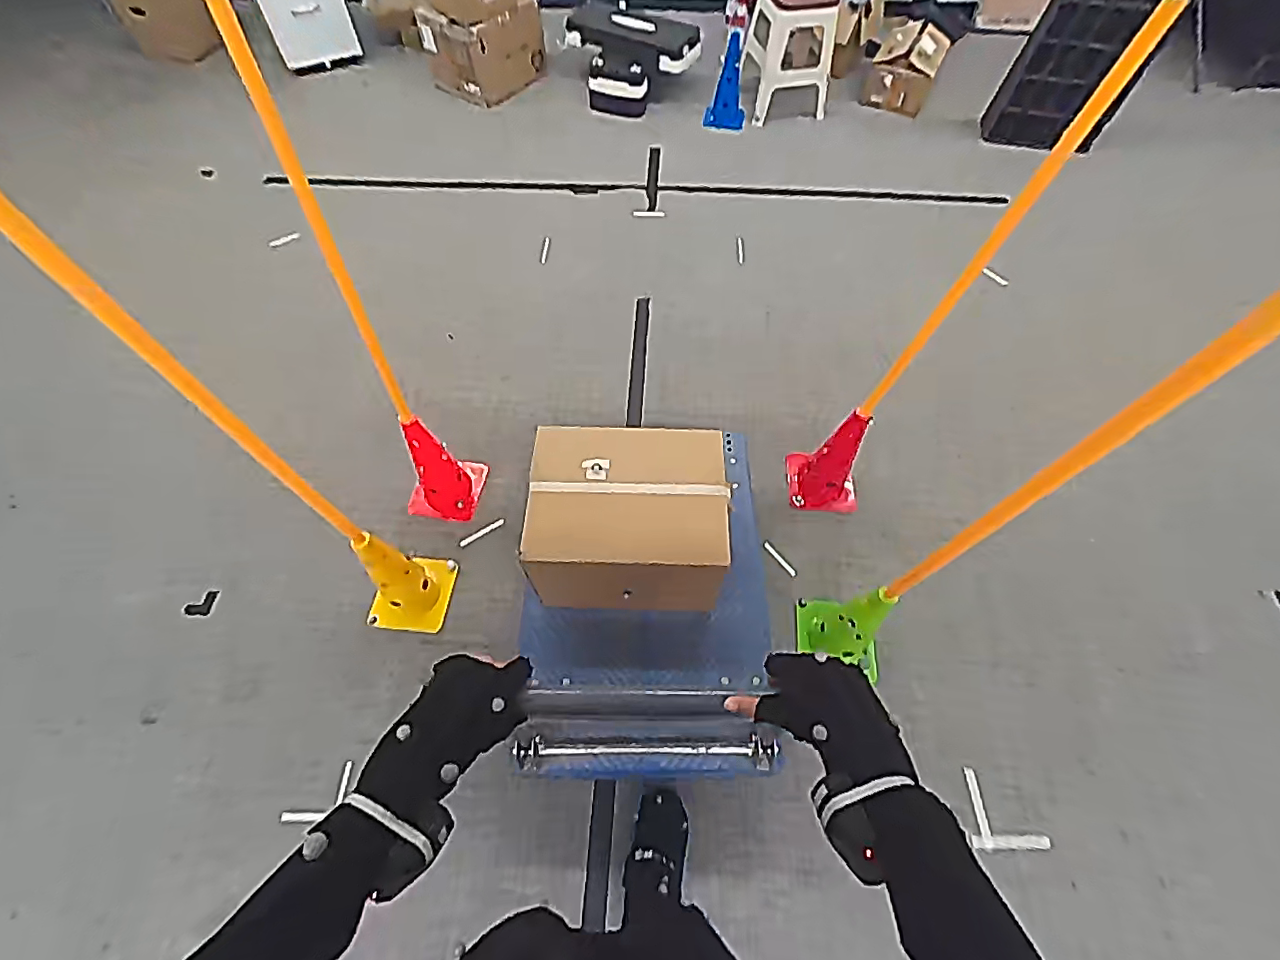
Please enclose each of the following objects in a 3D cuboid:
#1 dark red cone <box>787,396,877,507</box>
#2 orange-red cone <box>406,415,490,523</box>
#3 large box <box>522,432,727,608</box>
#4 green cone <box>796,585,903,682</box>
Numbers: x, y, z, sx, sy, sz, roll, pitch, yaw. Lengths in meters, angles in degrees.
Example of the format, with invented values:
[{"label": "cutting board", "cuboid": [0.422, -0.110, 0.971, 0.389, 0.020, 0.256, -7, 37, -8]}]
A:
[{"label": "dark red cone", "cuboid": [0.561, -0.092, 1.506, 0.201, 0.394, 0.202, 4, 60, 0]}, {"label": "orange-red cone", "cuboid": [-0.572, -0.059, 1.501, 0.198, 0.360, 0.199, 10, 58, 4]}, {"label": "large box", "cuboid": [-0.024, 0.102, 1.240, 0.408, 0.320, 0.320, 1, 60, 2]}, {"label": "green cone", "cuboid": [0.517, 0.332, 1.274, 0.202, 0.368, 0.200, 7, 59, 2]}]
